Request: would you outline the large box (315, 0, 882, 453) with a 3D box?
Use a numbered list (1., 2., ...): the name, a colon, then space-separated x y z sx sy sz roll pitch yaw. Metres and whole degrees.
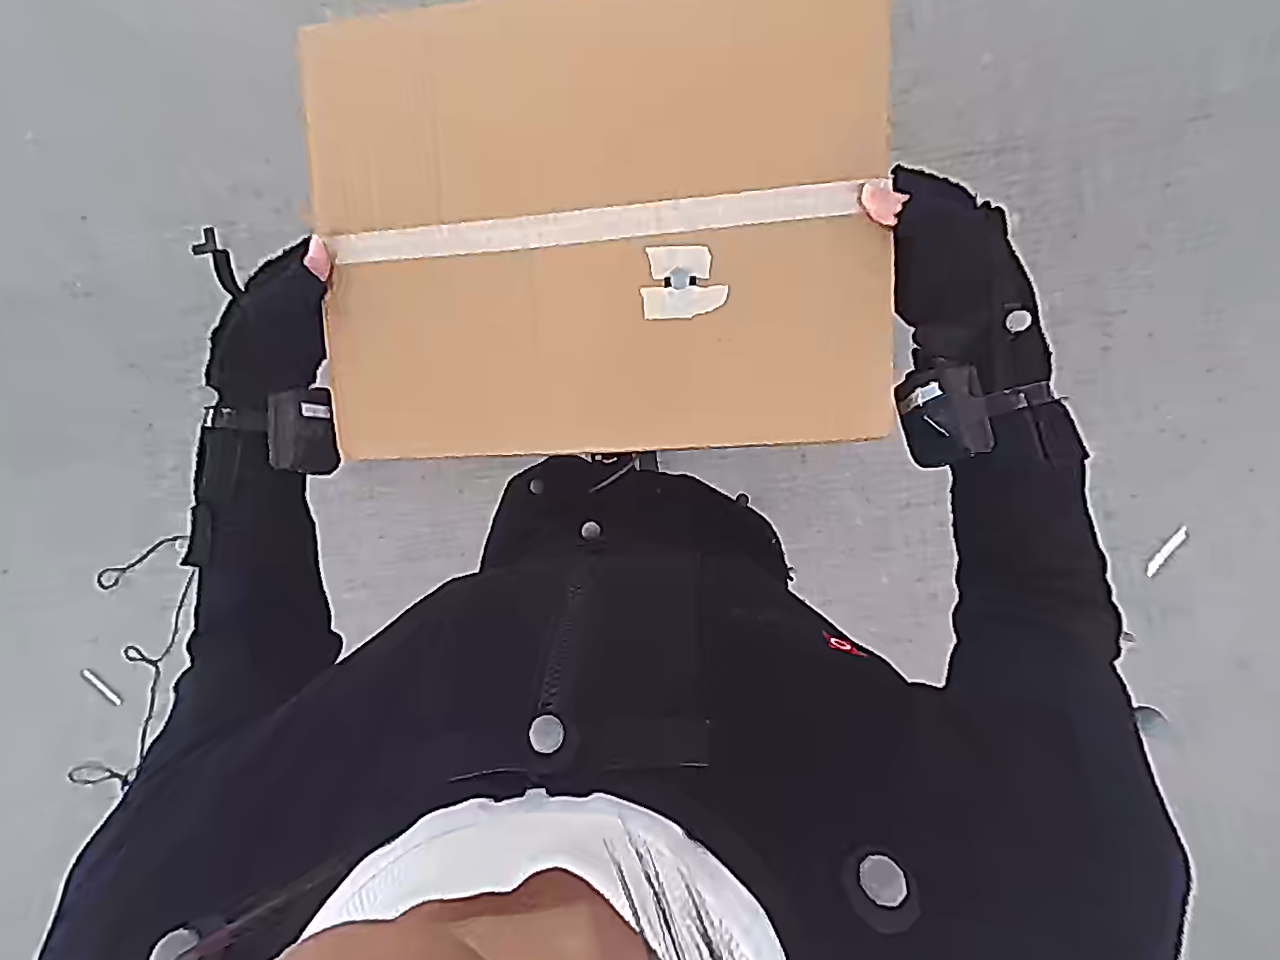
1. large box: -0.021 -0.201 0.538 0.408 0.320 0.320 -3 96 7
